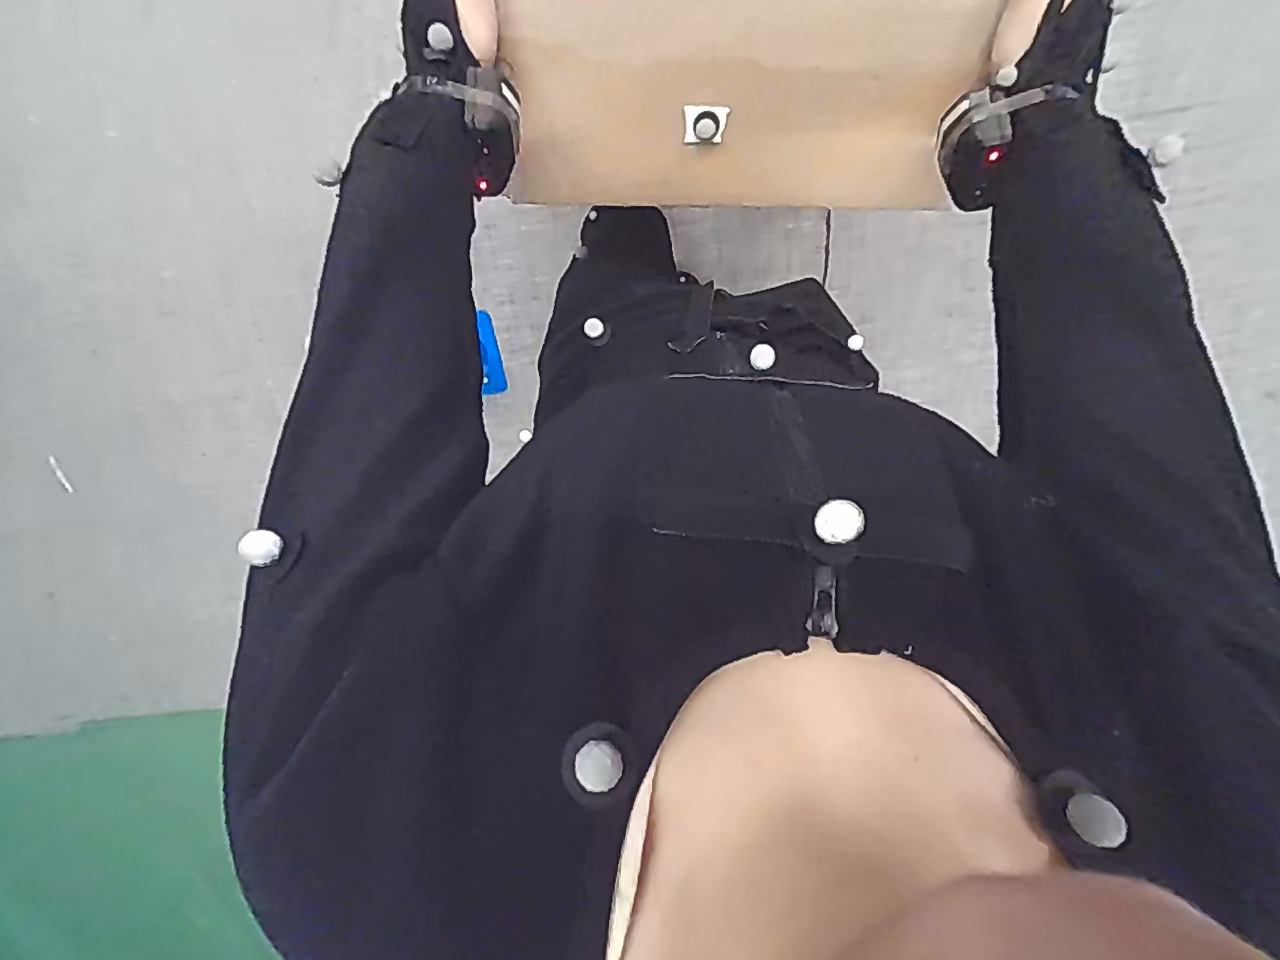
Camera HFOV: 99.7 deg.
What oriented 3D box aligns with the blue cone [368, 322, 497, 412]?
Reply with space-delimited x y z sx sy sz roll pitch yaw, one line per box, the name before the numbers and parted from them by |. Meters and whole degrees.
blue cone | -0.450 -0.211 1.133 0.192 0.380 0.193 -6 112 5
